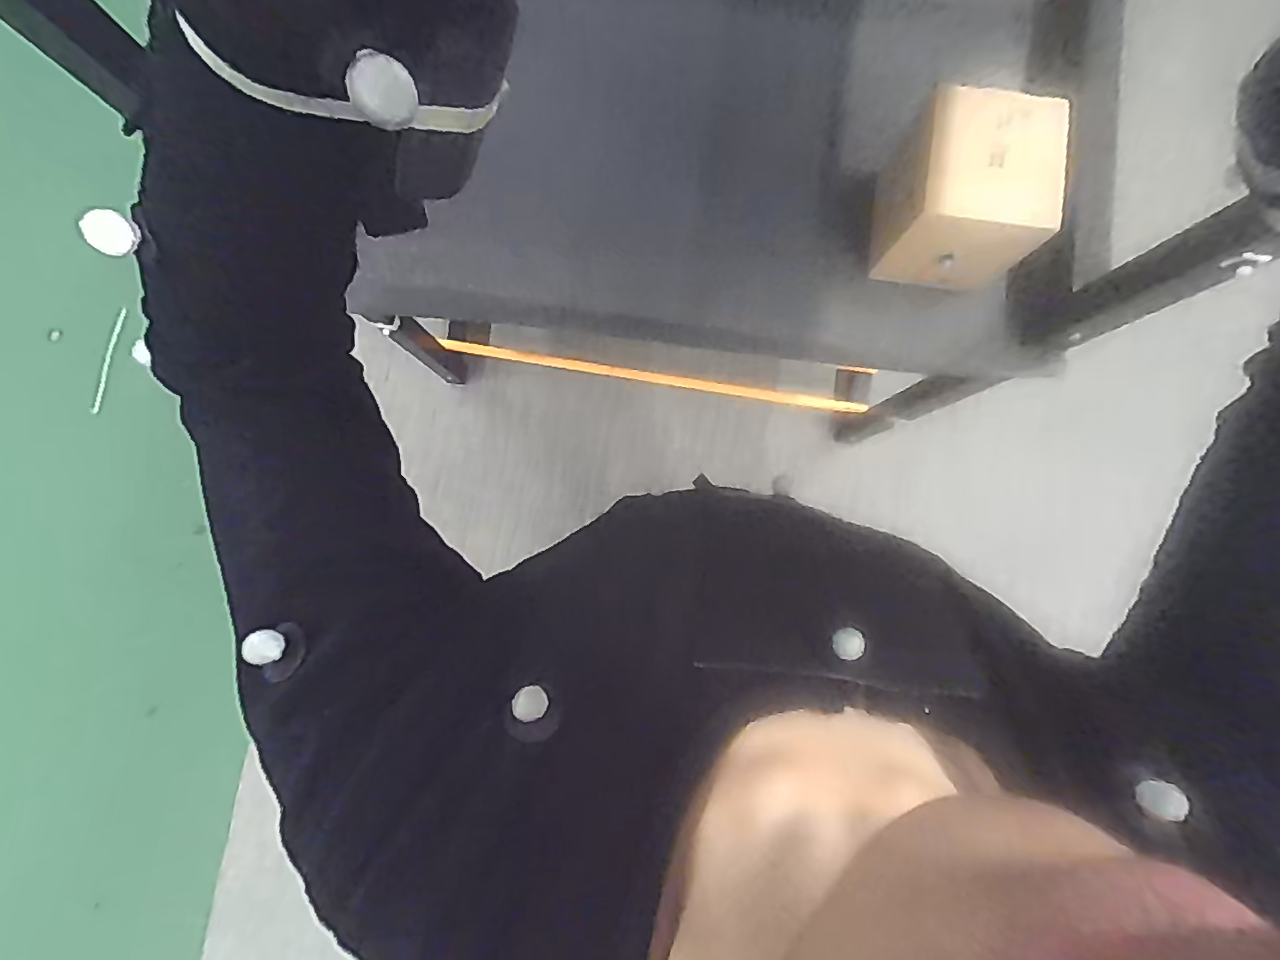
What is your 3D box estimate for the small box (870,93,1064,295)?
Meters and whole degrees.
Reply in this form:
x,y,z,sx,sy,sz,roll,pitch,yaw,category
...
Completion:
x,y,z,sx,sy,sz,roll,pitch,yaw,category
0.434,-0.378,0.743,0.168,0.176,0.179,9,83,1,small box
